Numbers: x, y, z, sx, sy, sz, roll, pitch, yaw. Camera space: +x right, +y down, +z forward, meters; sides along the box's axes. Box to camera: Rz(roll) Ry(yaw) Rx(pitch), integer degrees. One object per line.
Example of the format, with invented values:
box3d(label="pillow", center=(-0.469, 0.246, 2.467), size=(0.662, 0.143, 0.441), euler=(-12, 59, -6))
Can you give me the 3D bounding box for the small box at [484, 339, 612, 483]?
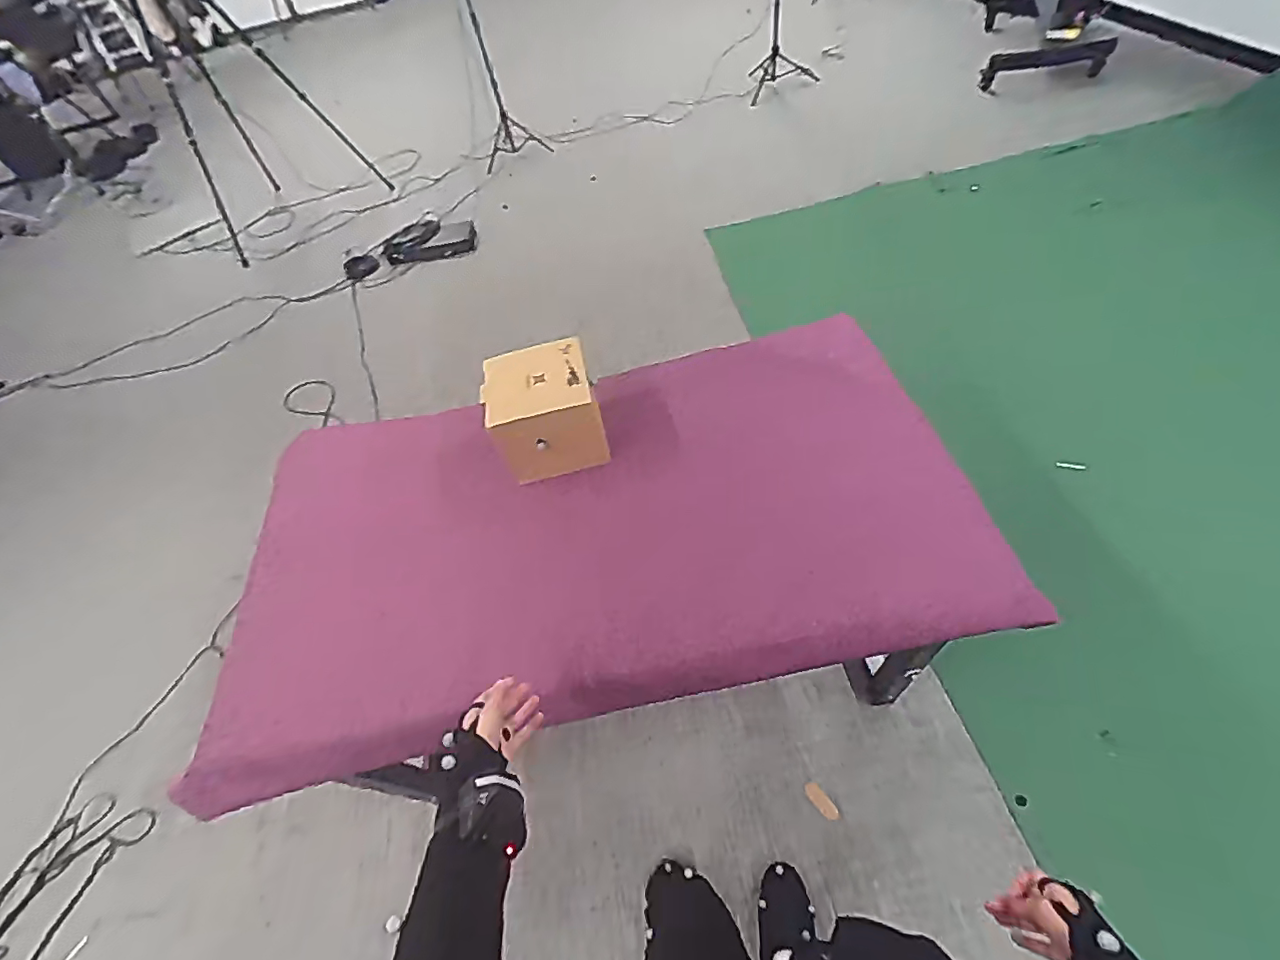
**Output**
box3d(label="small box", center=(-0.161, -0.115, 0.961), size=(0.179, 0.176, 0.168), euler=(-14, 55, 0))
